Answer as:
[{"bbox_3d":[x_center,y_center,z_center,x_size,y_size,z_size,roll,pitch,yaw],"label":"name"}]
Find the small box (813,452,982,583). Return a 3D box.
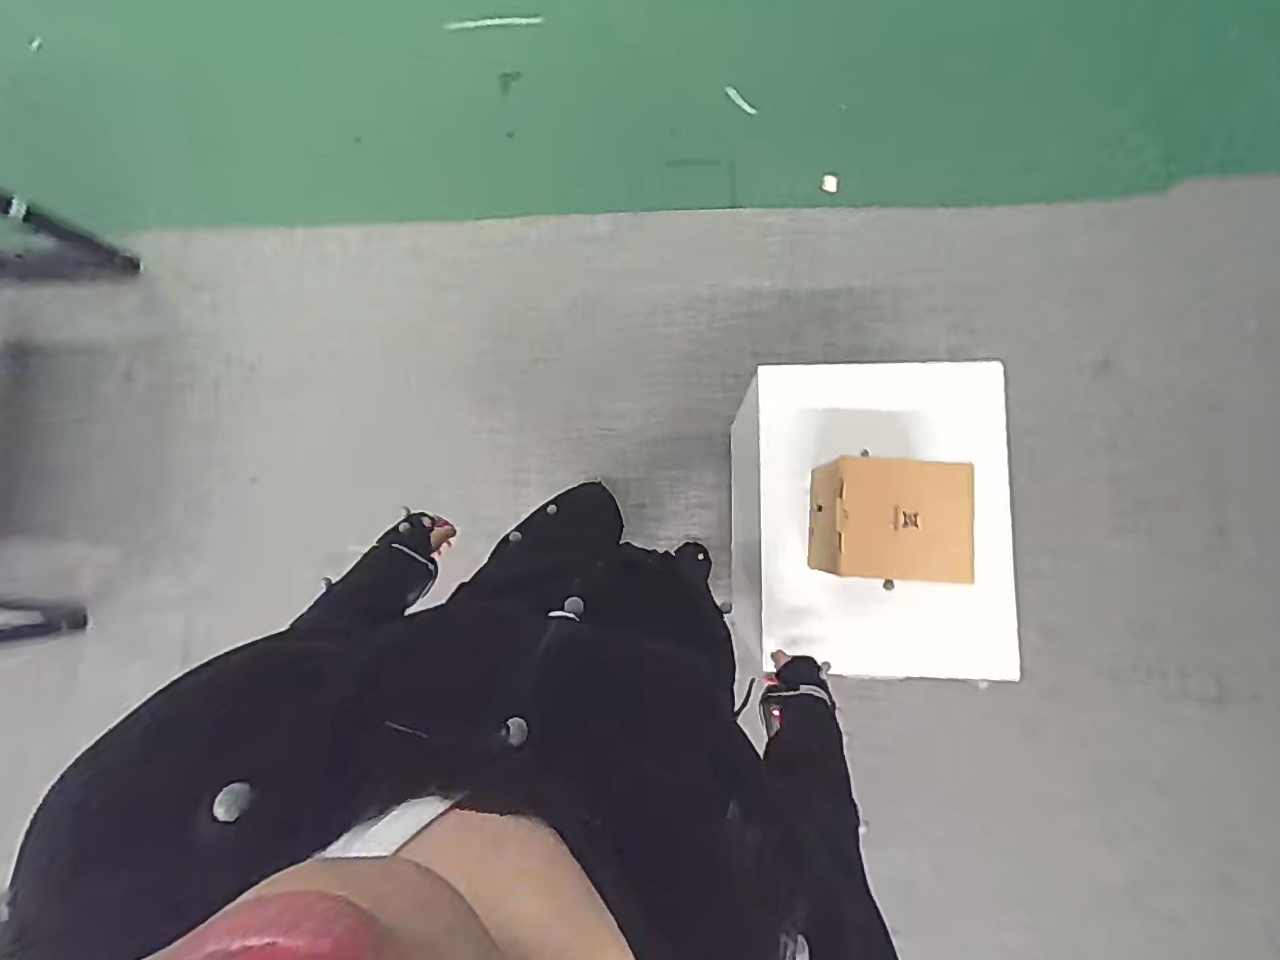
[{"bbox_3d":[0.366,0.055,0.794,0.179,0.176,0.168,3,85,5],"label":"small box"}]
